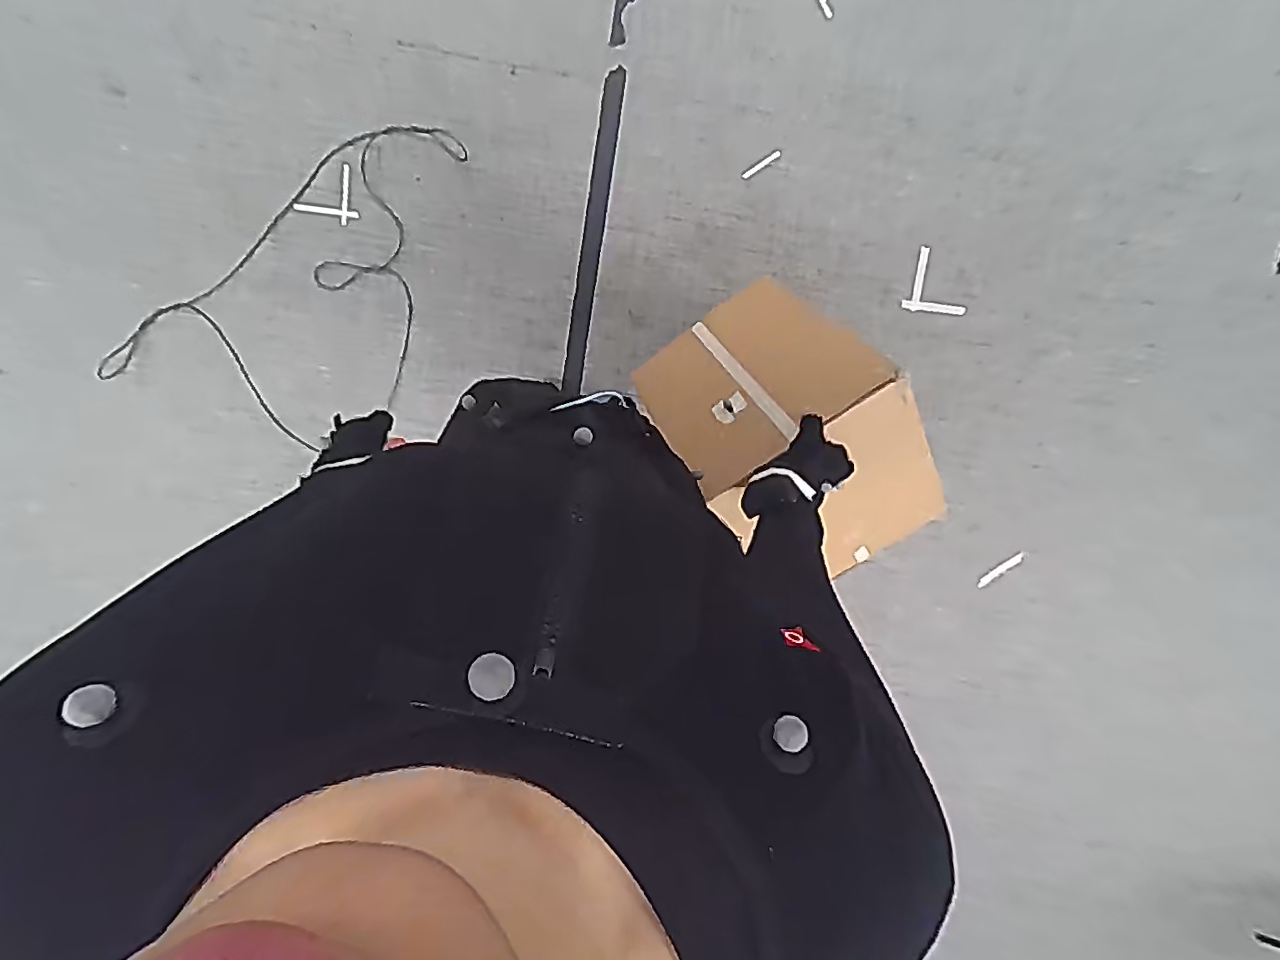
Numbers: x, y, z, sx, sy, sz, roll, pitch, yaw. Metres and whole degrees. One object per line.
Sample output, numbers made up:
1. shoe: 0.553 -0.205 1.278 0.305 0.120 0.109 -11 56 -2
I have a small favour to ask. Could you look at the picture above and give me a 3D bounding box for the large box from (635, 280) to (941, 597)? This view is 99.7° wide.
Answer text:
1. large box: 0.243 -0.081 0.954 0.320 0.408 0.320 -35 130 10
